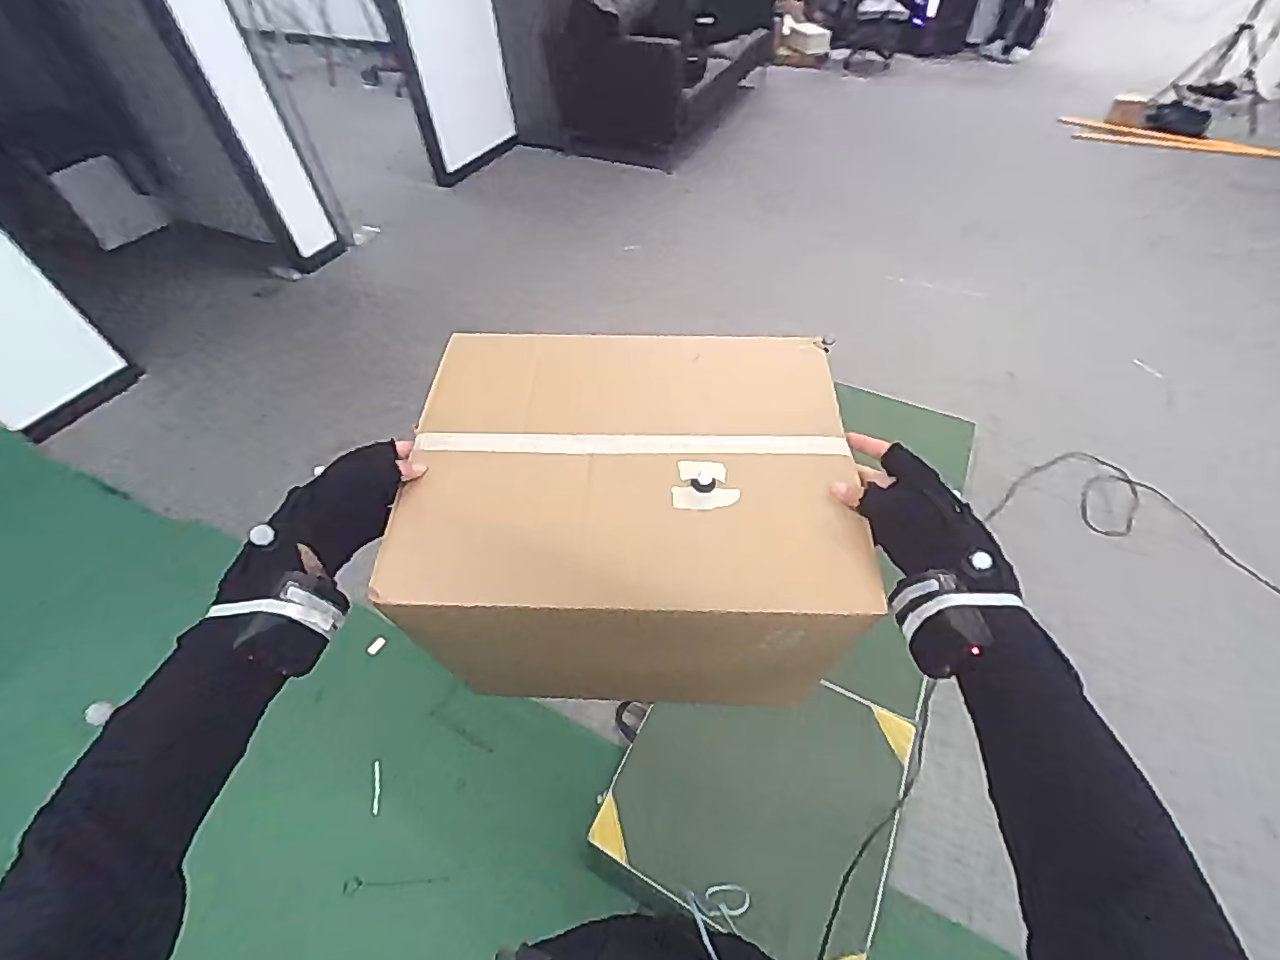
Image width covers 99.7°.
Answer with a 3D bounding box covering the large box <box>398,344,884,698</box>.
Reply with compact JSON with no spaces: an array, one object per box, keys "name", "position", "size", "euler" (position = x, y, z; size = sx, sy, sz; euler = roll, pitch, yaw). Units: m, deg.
[{"name":"large box","position":[0.001,0.061,0.640],"size":[0.408,0.320,0.320],"euler":[2,56,1]}]
